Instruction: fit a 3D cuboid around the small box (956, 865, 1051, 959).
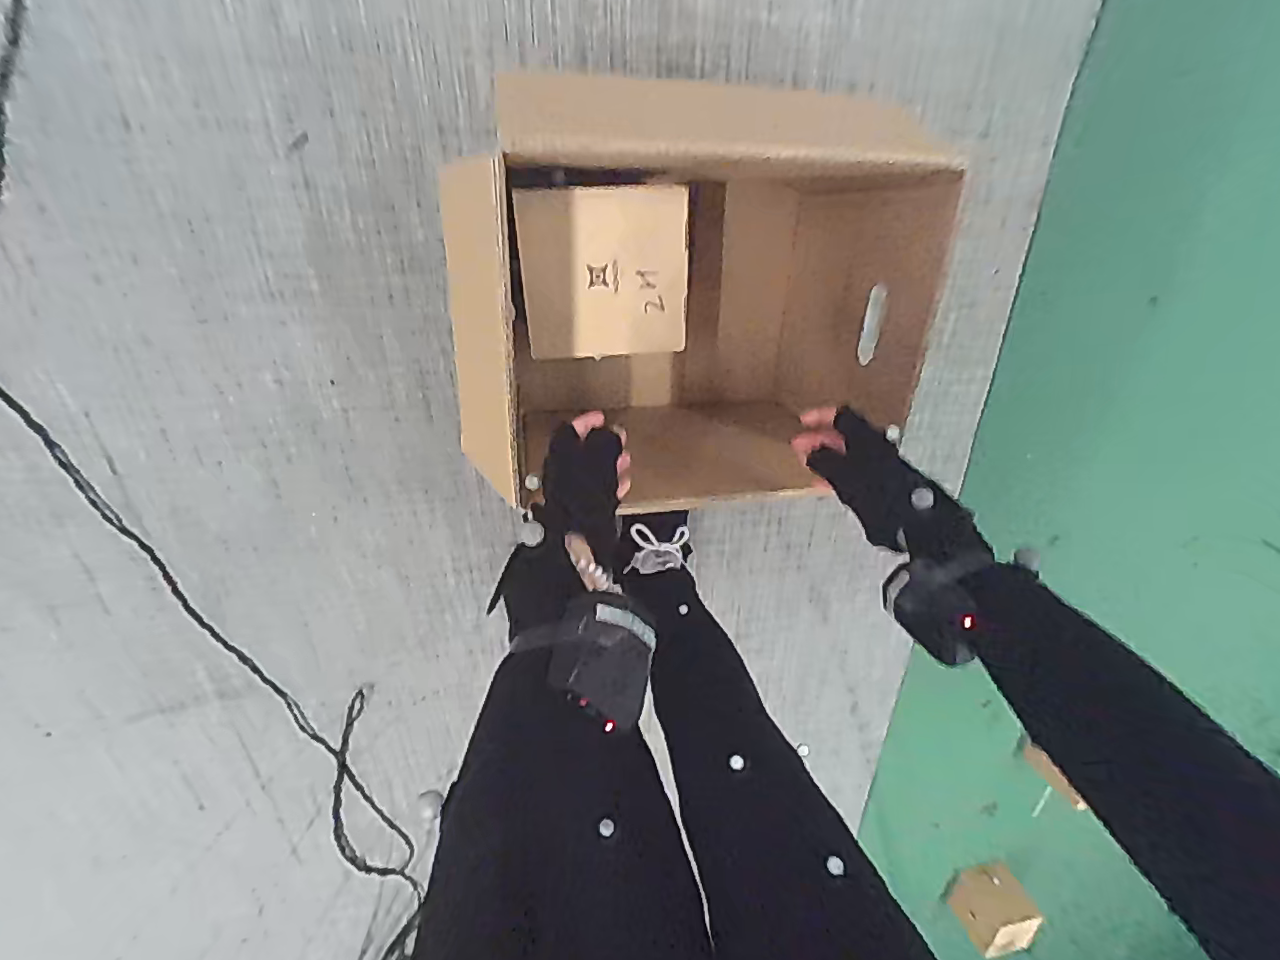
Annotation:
[{"bbox_3d":[1.157,1.385,1.738,0.168,0.176,0.179,-5,116,-12],"label":"small box"}]
